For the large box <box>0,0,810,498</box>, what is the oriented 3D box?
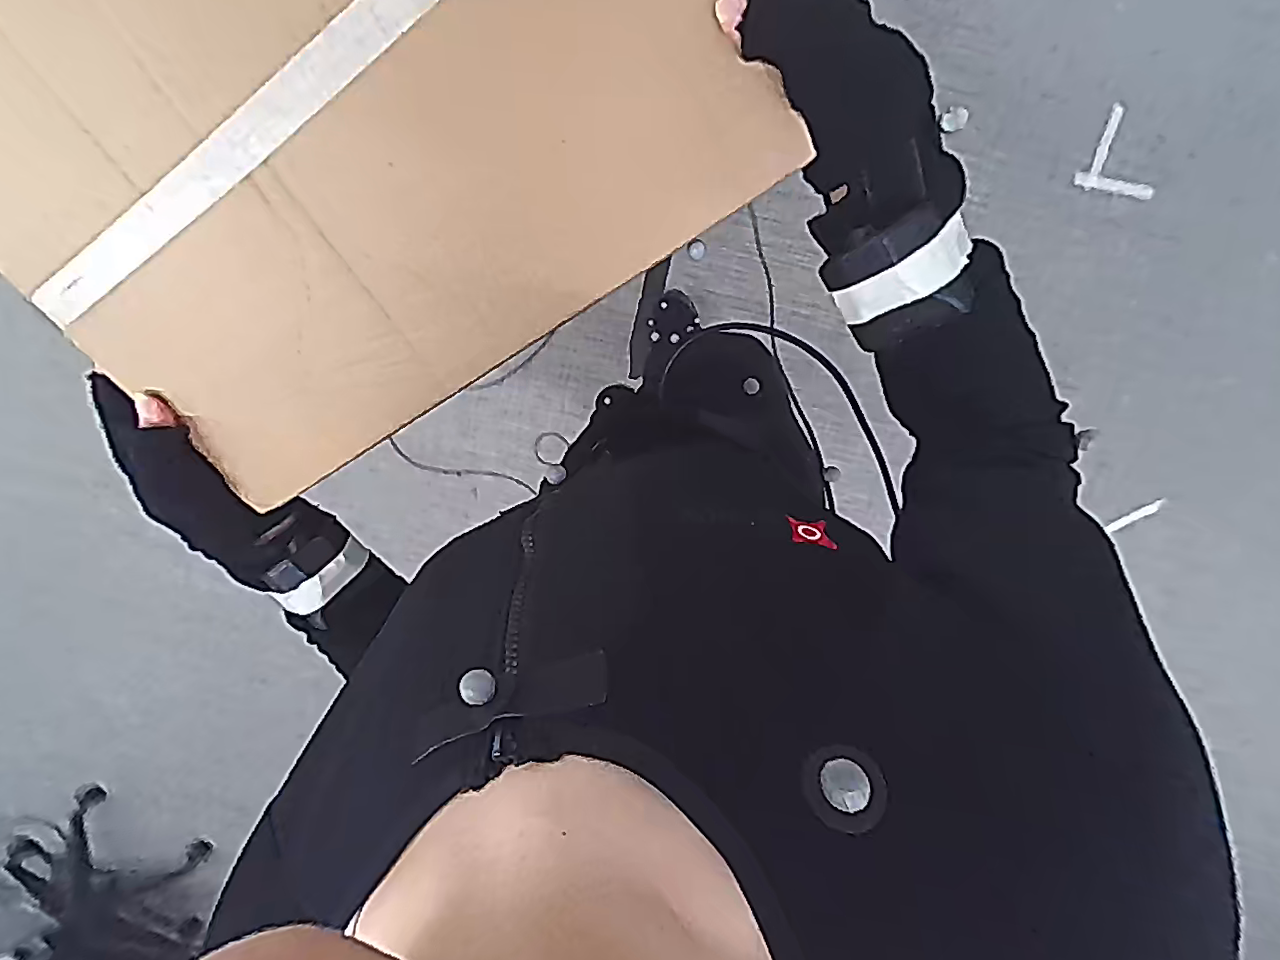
[{"bbox_3d":[-0.151,-0.260,0.405,0.408,0.320,0.320,-27,112,14],"label":"large box"}]
